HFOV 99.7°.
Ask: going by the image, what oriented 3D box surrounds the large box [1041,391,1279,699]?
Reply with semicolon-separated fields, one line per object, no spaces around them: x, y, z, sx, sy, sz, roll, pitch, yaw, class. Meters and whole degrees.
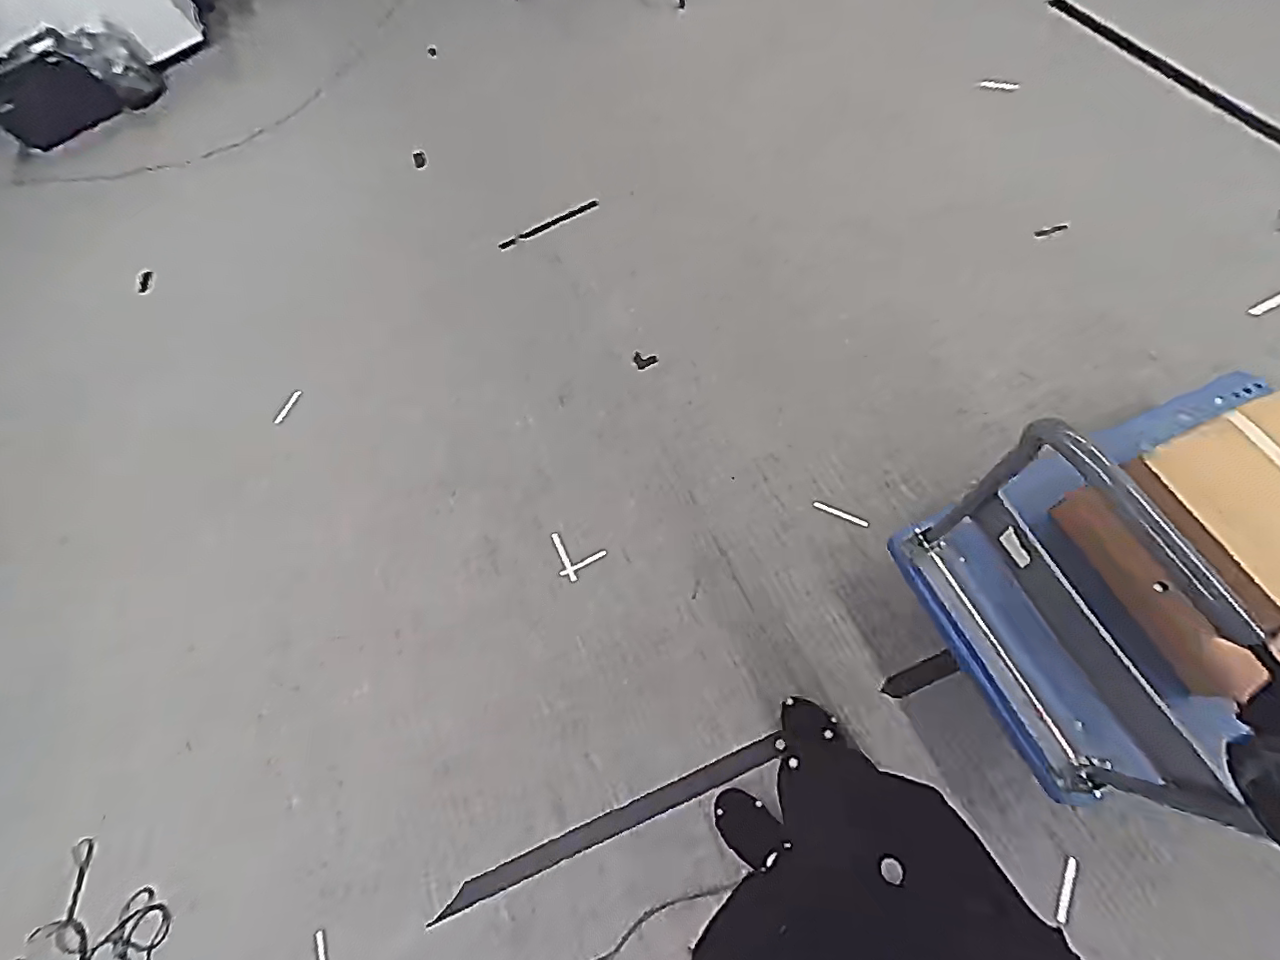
1.051;0.131;0.962;0.320;0.320;0.408;-25;65;1;large box
